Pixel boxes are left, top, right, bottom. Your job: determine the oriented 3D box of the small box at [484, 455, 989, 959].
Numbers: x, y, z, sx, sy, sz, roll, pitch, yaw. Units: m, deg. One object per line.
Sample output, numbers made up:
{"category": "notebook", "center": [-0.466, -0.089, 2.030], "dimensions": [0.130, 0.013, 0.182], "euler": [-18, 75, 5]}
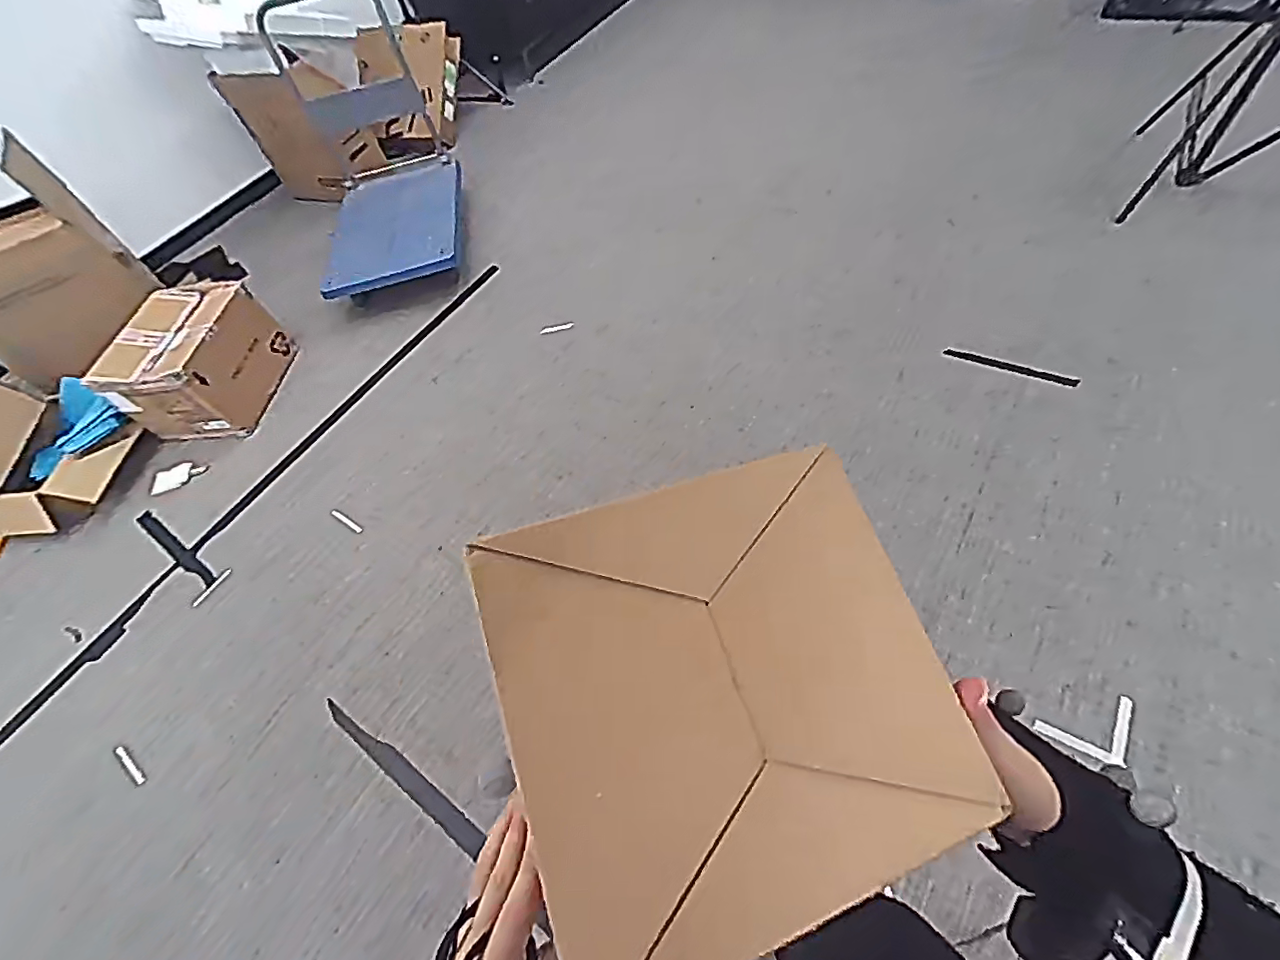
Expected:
{"category": "small box", "center": [0.028, 0.103, 0.284], "dimensions": [0.179, 0.176, 0.168], "euler": [-14, 70, -17]}
